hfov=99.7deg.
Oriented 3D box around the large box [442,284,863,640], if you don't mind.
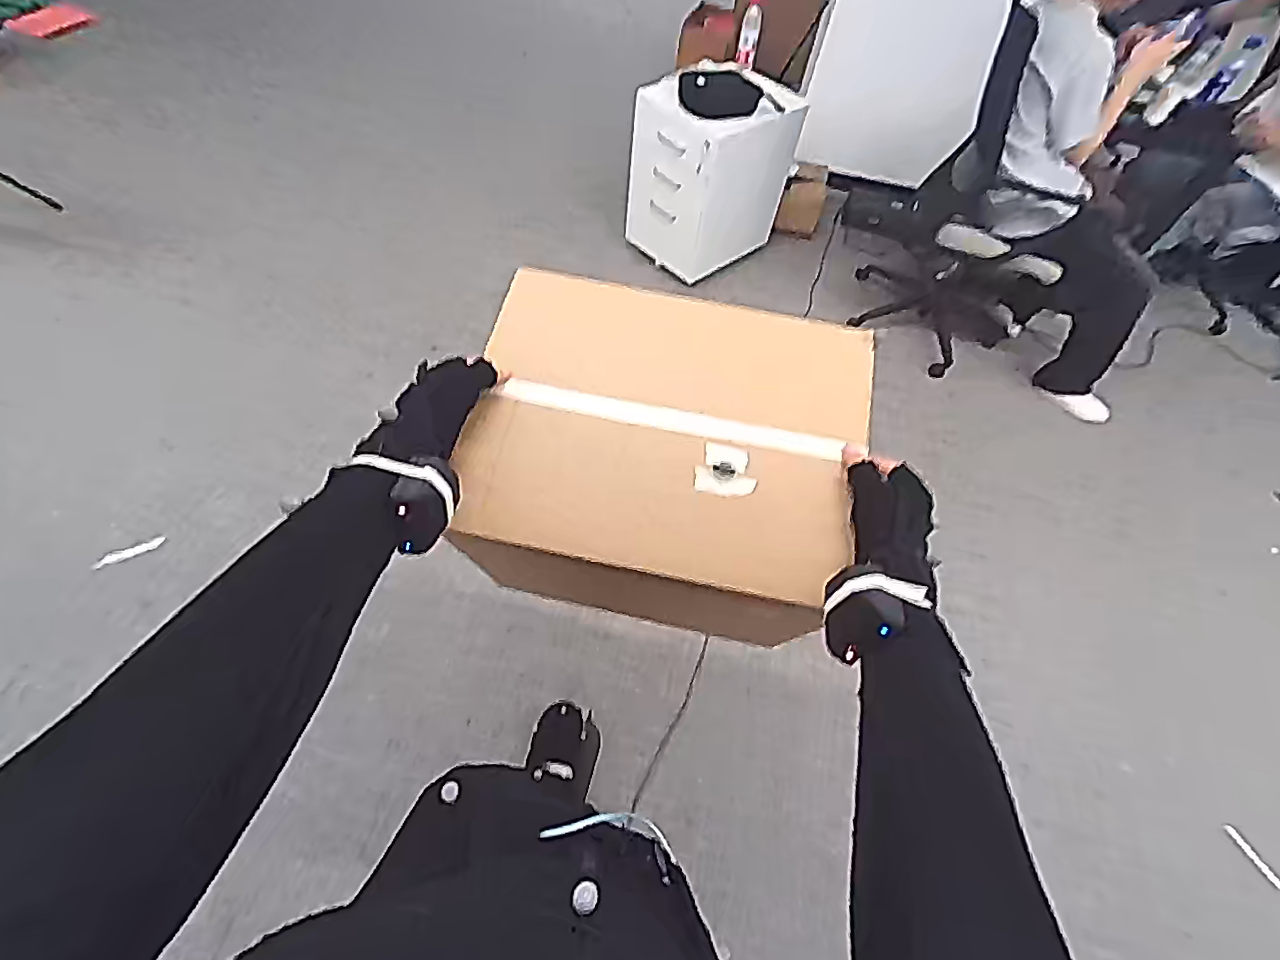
[{"bbox_3d":[0.024,-0.001,0.705,0.408,0.320,0.320,12,69,3],"label":"large box"}]
